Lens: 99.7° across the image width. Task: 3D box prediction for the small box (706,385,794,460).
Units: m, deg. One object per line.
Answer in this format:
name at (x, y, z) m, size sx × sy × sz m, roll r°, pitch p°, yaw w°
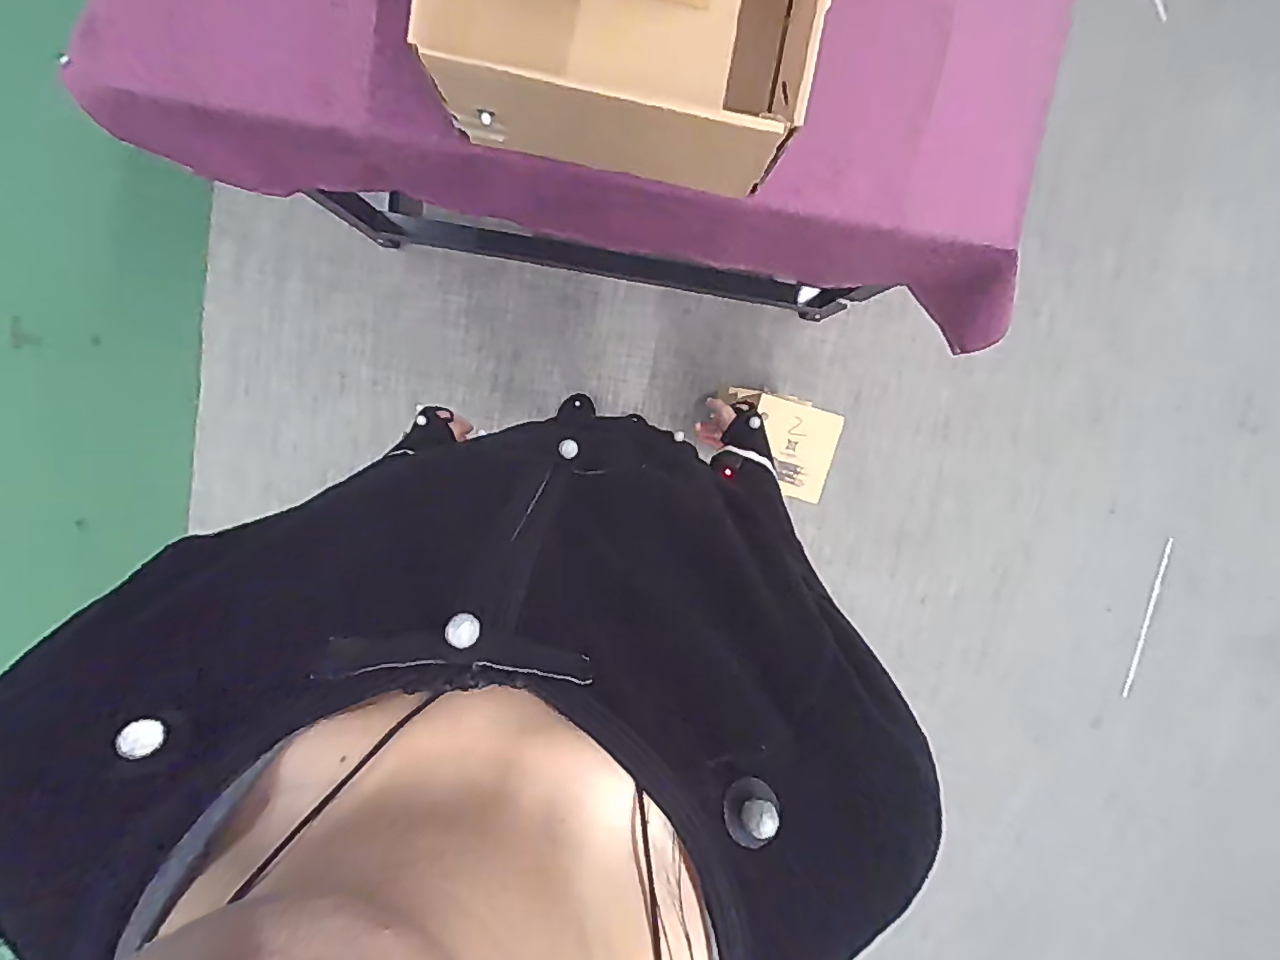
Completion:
small box at (0.282, -0.152, 1.414) m, size 0.179 × 0.176 × 0.168 m, roll 8°, pitch 97°, yaw -2°
